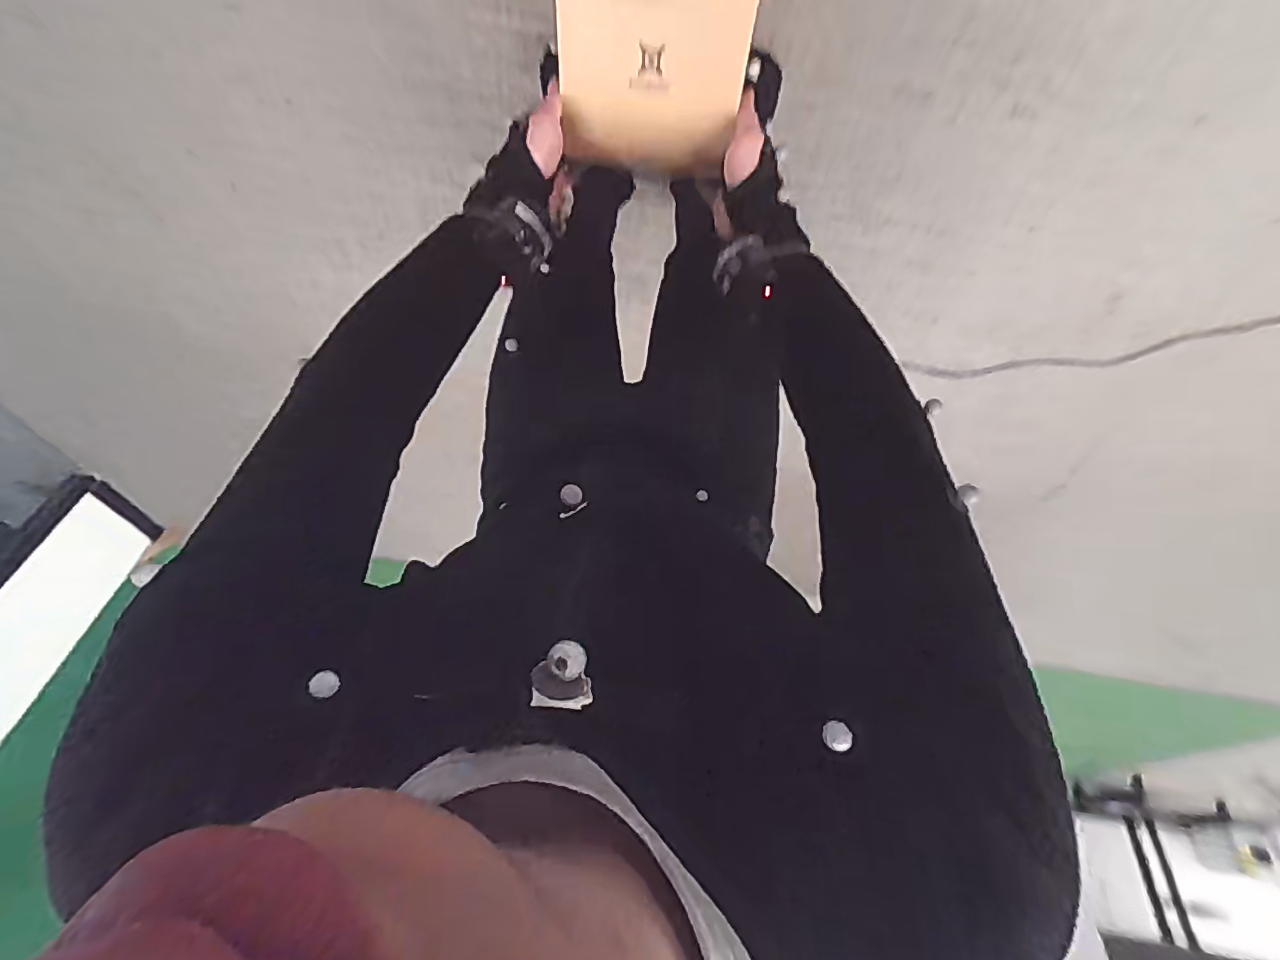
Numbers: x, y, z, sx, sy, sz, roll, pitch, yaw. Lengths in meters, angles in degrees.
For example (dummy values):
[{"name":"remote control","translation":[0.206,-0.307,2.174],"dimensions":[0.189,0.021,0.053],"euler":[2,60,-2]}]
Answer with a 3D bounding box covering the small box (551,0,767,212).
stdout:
[{"name":"small box","translation":[0.019,-0.386,0.505],"dimensions":[0.168,0.176,0.179],"euler":[7,144,2]}]
